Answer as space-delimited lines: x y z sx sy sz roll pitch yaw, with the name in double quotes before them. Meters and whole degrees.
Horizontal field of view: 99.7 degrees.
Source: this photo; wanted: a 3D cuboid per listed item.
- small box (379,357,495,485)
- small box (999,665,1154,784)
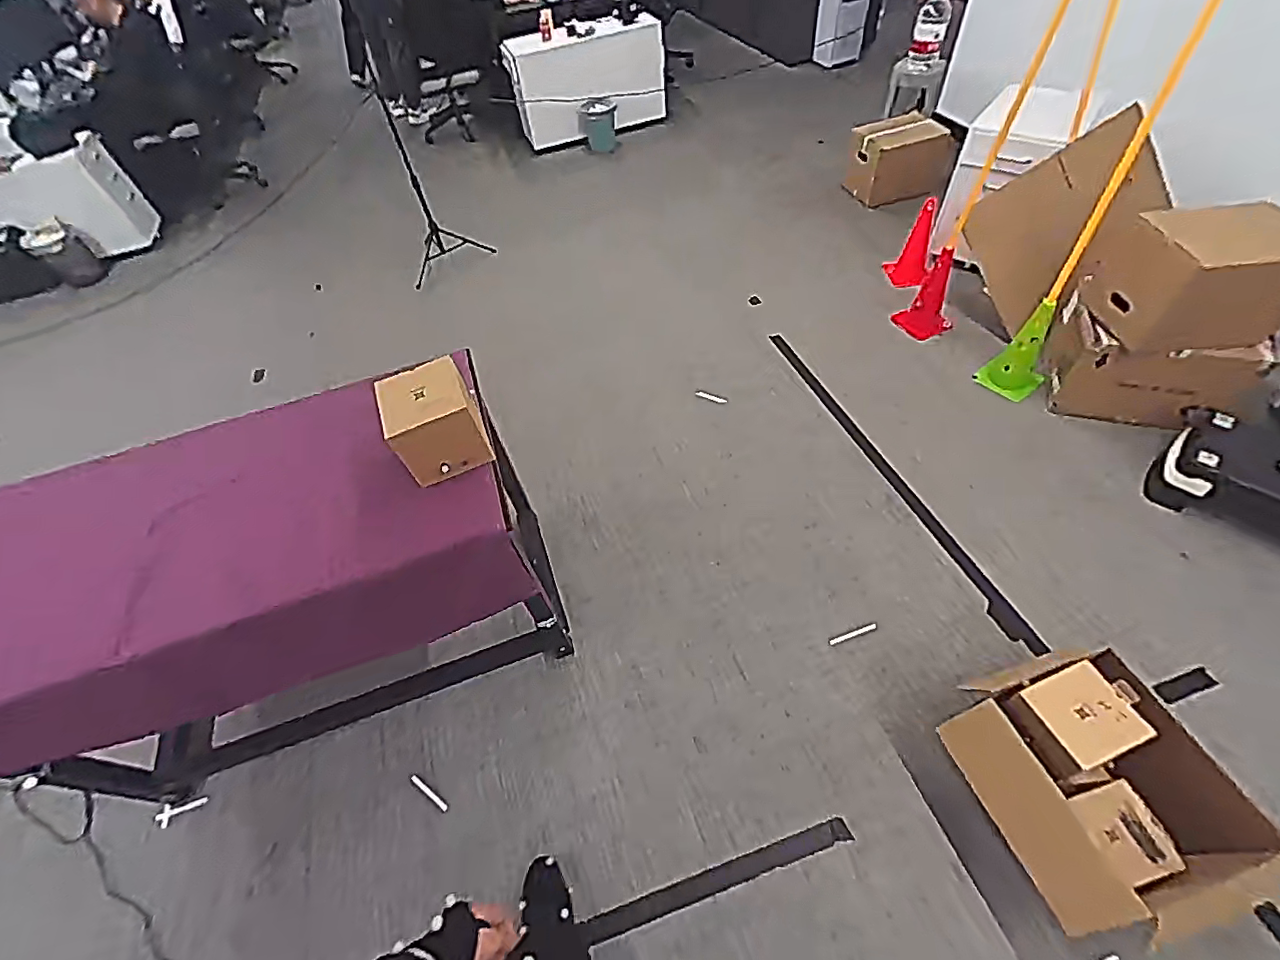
"small box" -0.425 -0.122 1.142 0.168 0.176 0.179 -23 53 -8
"small box" 0.917 0.531 1.165 0.179 0.176 0.168 -20 53 -7
